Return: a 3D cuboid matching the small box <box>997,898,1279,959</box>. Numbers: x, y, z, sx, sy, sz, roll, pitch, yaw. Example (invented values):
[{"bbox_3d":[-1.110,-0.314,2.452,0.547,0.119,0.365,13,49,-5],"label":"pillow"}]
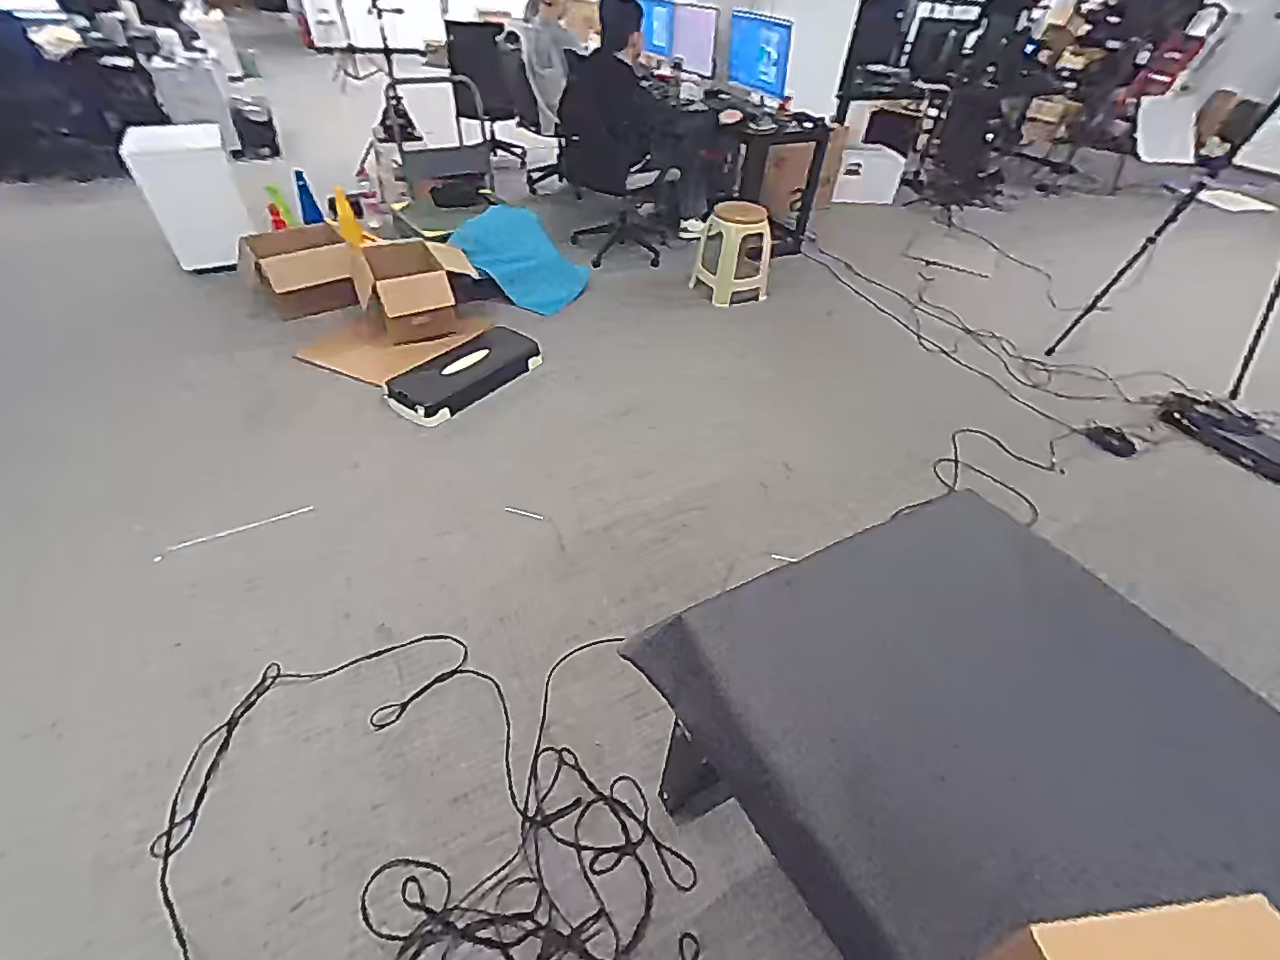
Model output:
[{"bbox_3d":[0.353,0.406,0.343,0.168,0.176,0.179,-6,37,-3],"label":"small box"}]
